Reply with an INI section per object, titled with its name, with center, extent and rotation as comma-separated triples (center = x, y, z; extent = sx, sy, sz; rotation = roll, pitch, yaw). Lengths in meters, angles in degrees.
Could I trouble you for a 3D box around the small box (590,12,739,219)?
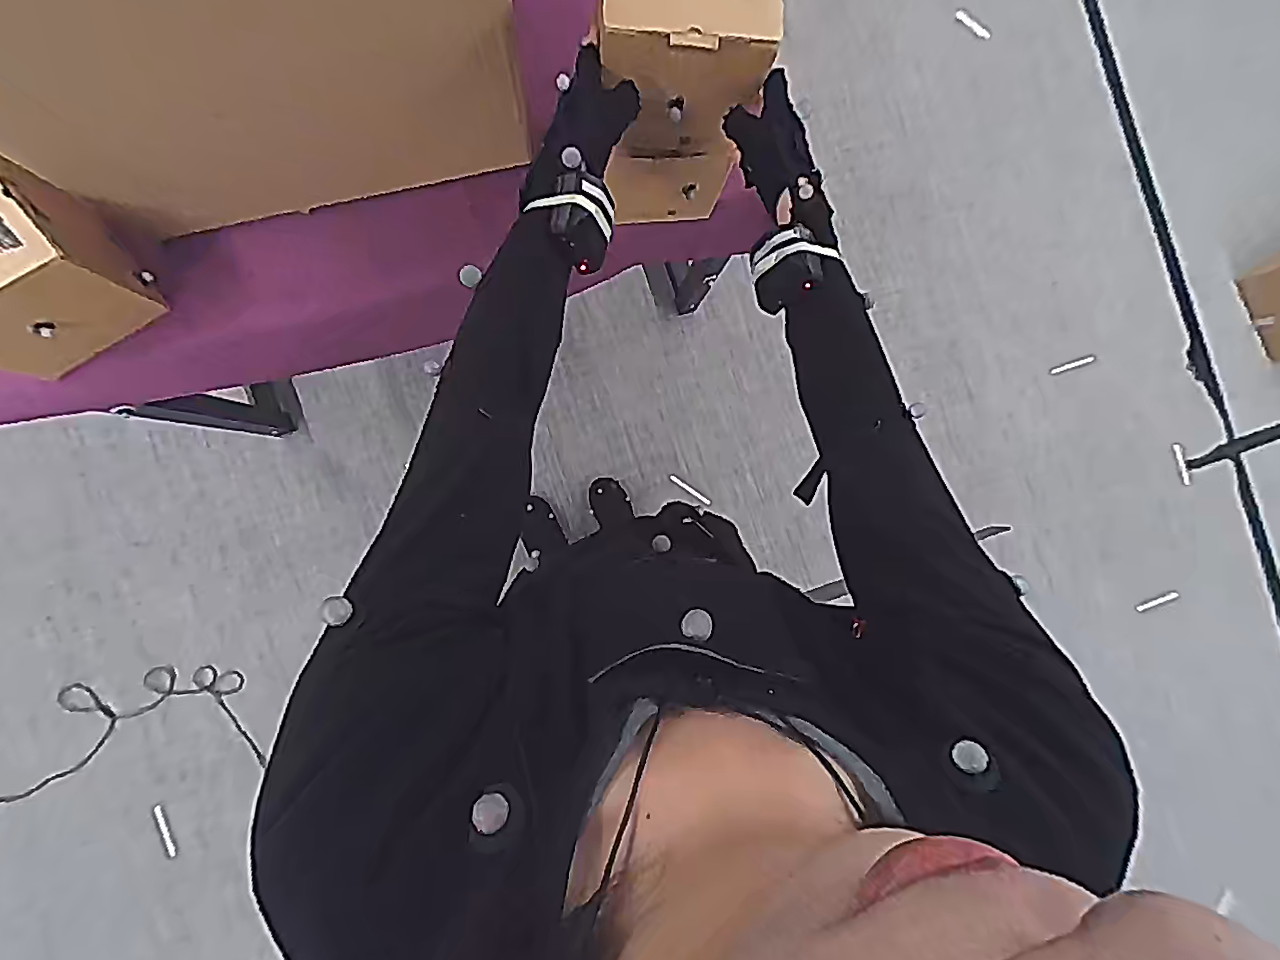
[small box]
center = 0.023, -0.470, 0.724
extent = 0.168, 0.176, 0.179
rotation = -7, 89, -7
